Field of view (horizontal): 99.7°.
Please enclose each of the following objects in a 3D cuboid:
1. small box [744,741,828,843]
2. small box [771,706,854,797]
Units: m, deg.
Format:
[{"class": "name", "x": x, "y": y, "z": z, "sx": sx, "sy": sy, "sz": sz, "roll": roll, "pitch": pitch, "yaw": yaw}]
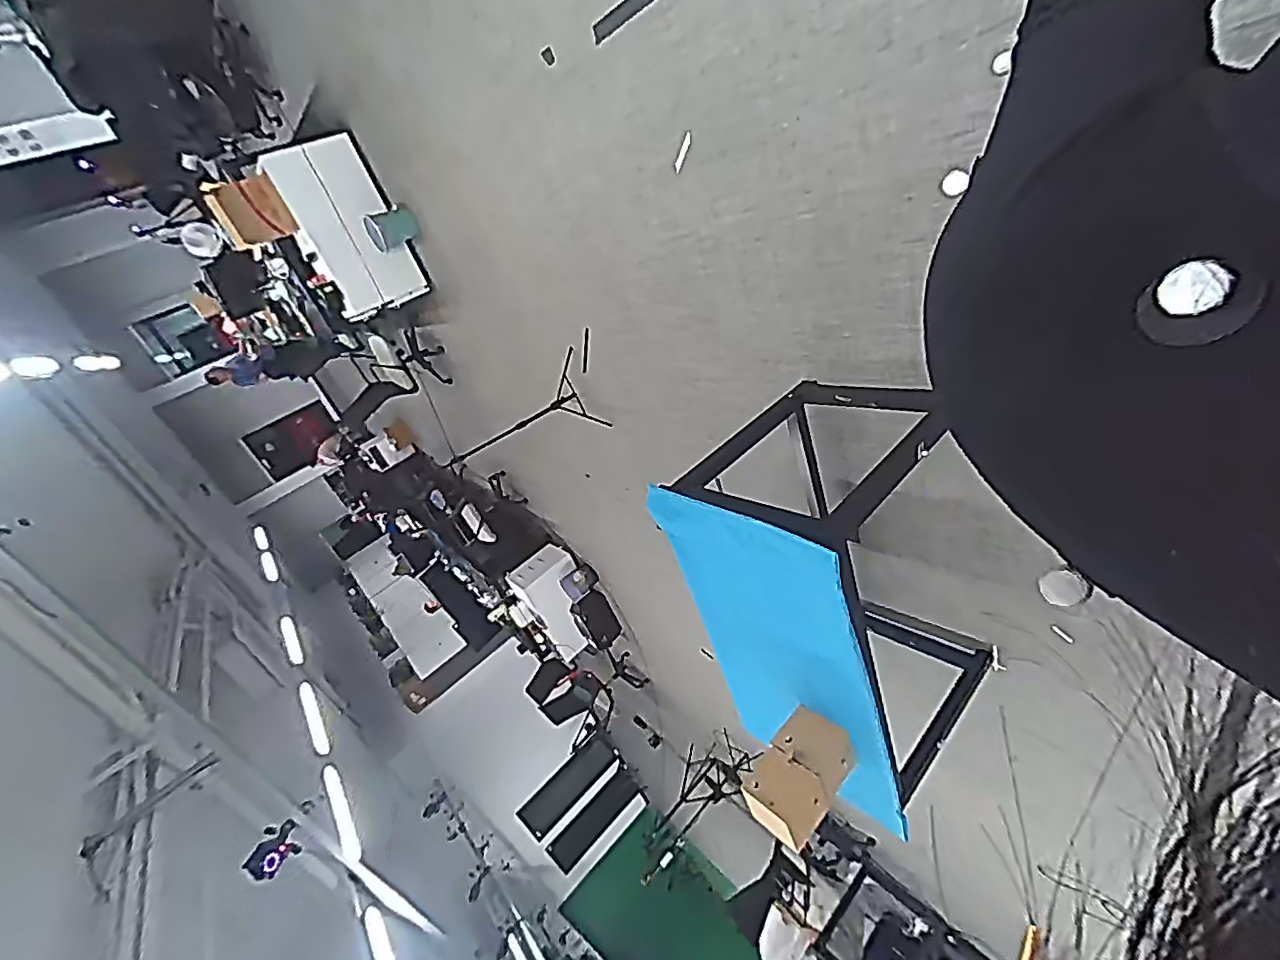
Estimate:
[{"class": "small box", "x": 0.436, "y": 0.942, "z": 1.630, "sx": 0.168, "sy": 0.176, "sz": 0.179, "roll": 17, "pitch": 136, "yaw": 50}, {"class": "small box", "x": 0.549, "y": 0.853, "z": 1.715, "sx": 0.179, "sy": 0.176, "sz": 0.168, "roll": 16, "pitch": 137, "yaw": 48}]
